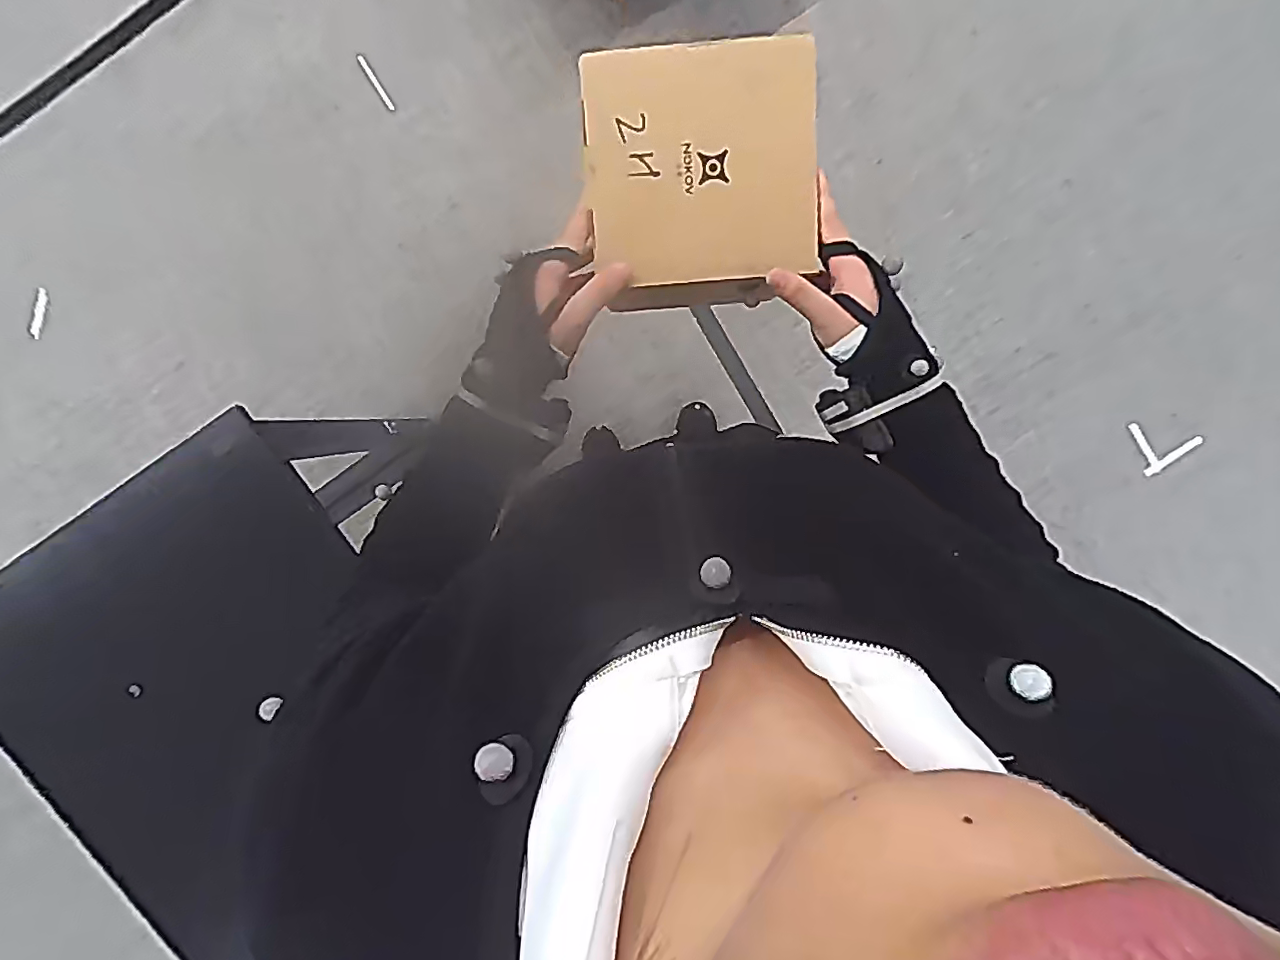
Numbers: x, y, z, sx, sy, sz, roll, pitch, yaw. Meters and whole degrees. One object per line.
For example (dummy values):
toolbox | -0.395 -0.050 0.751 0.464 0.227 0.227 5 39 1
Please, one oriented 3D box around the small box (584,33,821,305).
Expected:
small box | 0.050 -0.255 0.486 0.179 0.176 0.168 -4 101 2

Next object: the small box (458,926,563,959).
small box | -0.194 0.802 0.780 0.168 0.176 0.179 -36 96 5
